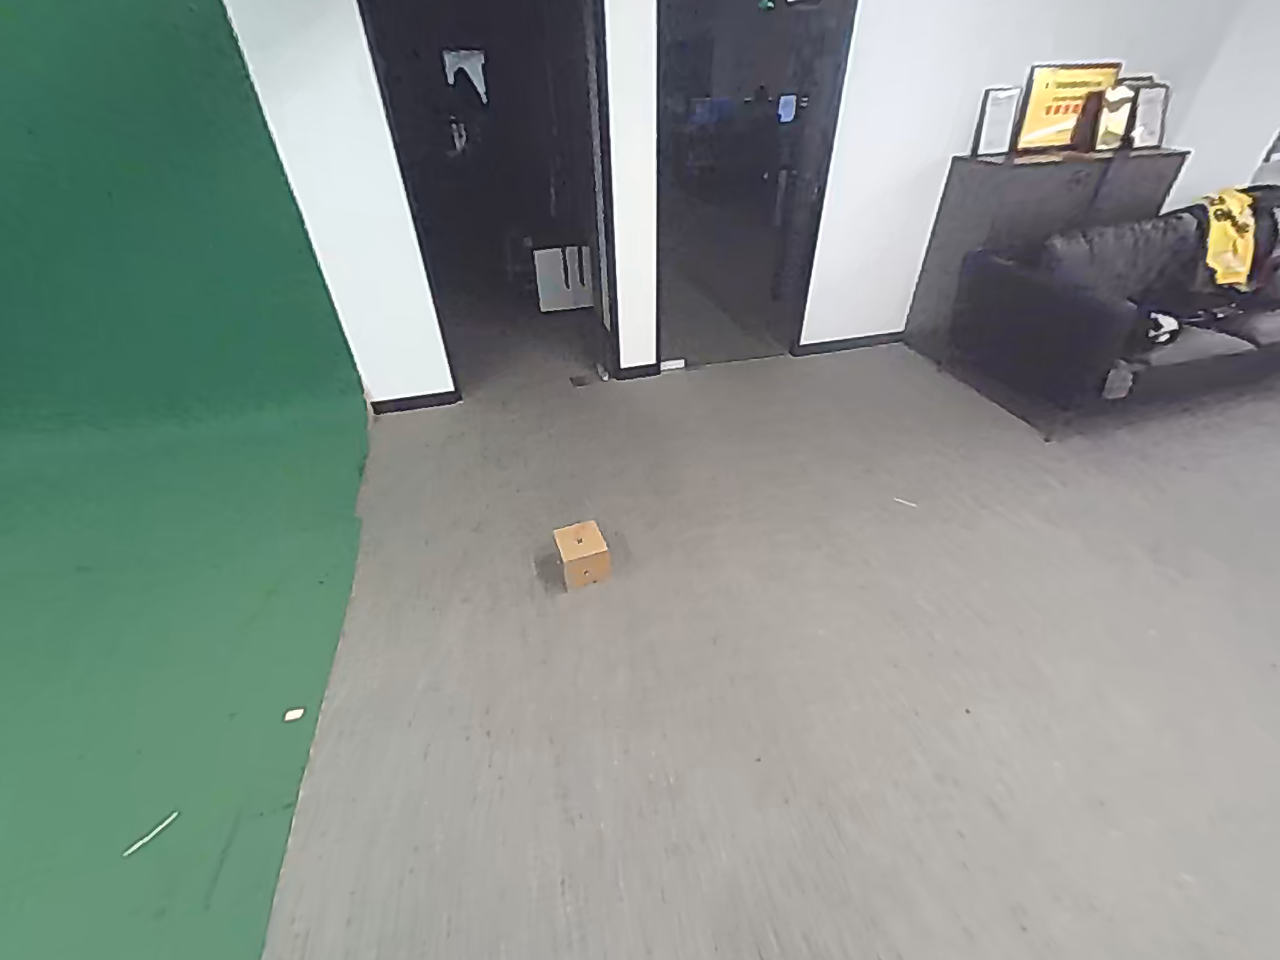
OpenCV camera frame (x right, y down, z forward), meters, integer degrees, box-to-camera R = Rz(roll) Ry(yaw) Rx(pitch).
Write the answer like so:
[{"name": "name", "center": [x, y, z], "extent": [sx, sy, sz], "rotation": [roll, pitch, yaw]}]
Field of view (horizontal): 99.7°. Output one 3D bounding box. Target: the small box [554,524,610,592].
[{"name": "small box", "center": [-0.215, 0.296, 2.013], "extent": [0.168, 0.176, 0.179], "rotation": [-13, 39, -16]}]
